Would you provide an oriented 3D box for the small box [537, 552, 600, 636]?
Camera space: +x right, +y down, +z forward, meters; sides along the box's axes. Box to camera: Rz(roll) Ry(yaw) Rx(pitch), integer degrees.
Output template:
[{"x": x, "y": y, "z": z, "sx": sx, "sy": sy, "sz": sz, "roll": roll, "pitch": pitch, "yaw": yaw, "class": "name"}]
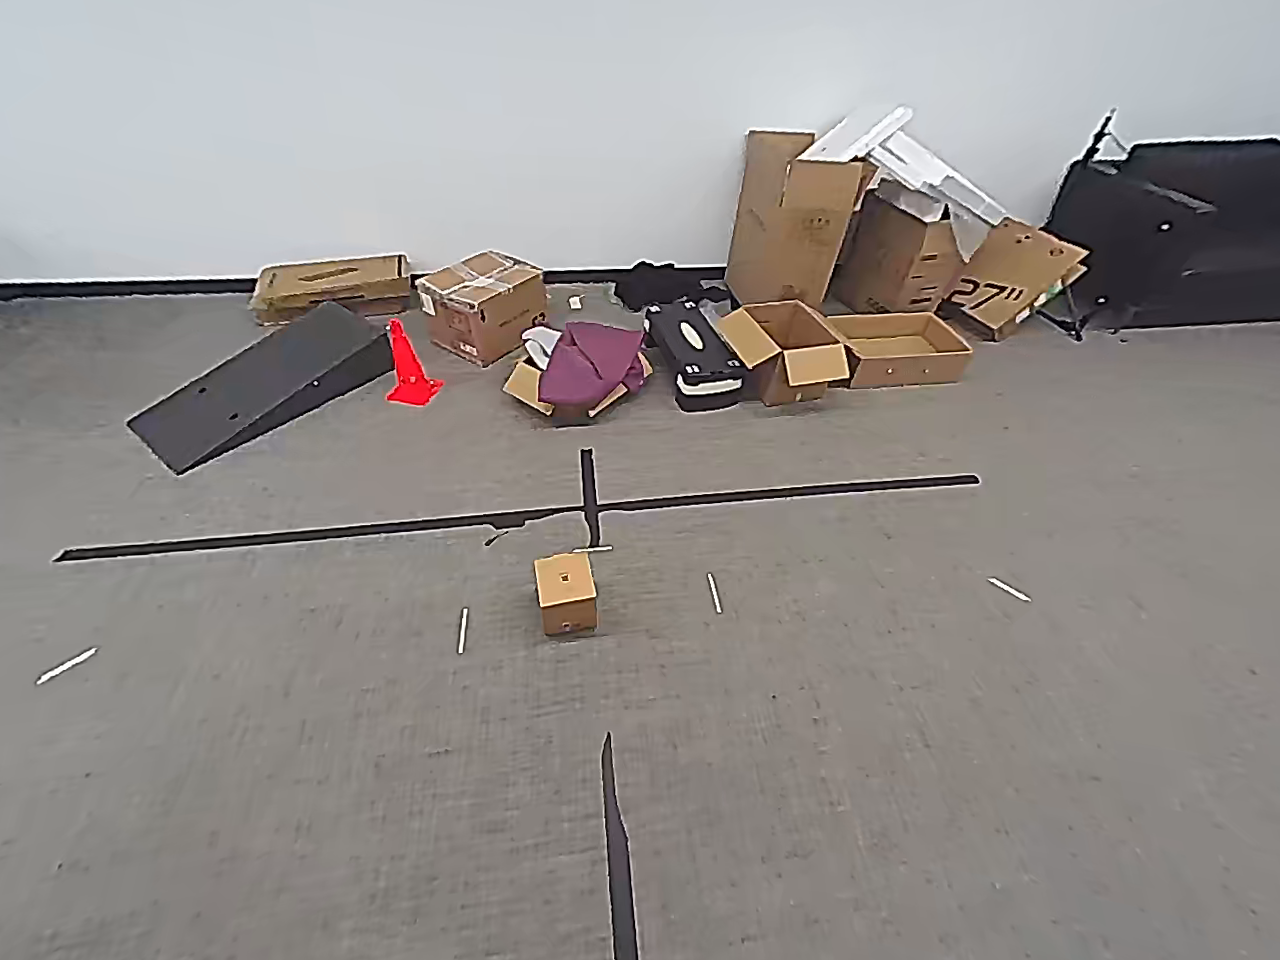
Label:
[{"x": -0.220, "y": 0.352, "z": 1.663, "sx": 0.168, "sy": 0.176, "sz": 0.179, "roll": -9, "pitch": 47, "yaw": -11, "class": "small box"}]
